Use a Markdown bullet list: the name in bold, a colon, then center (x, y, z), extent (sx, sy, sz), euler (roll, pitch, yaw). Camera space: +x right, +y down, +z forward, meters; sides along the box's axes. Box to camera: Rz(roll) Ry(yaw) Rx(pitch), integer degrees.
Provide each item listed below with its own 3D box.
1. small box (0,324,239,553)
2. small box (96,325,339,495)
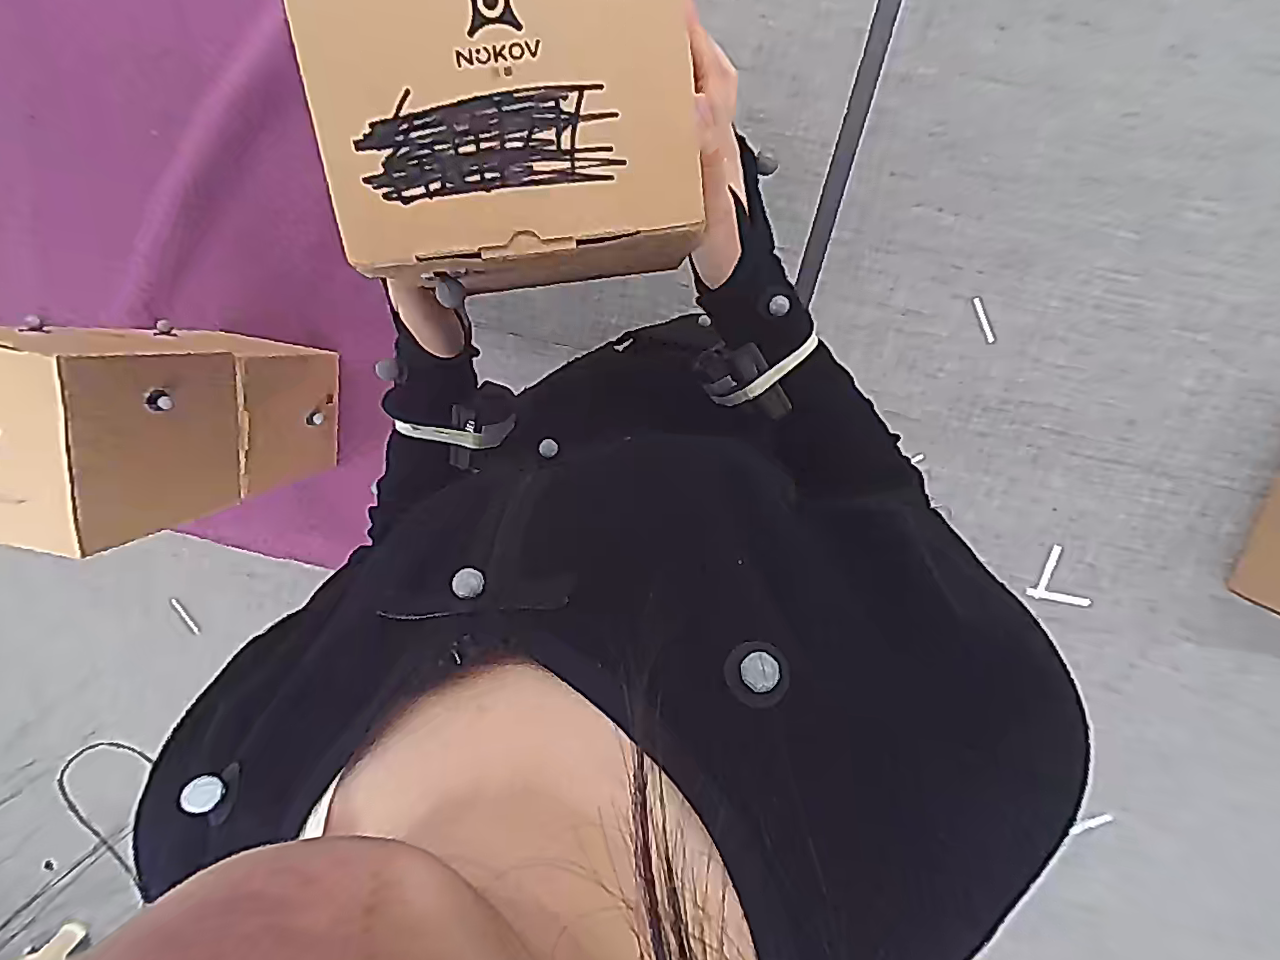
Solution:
- **small box**: center (-0.532, -0.053, 0.525), extent (0.168, 0.176, 0.179), euler (10, 106, 4)
- **small box**: center (-0.517, -0.095, 0.681), extent (0.179, 0.176, 0.168), euler (11, 105, 2)
